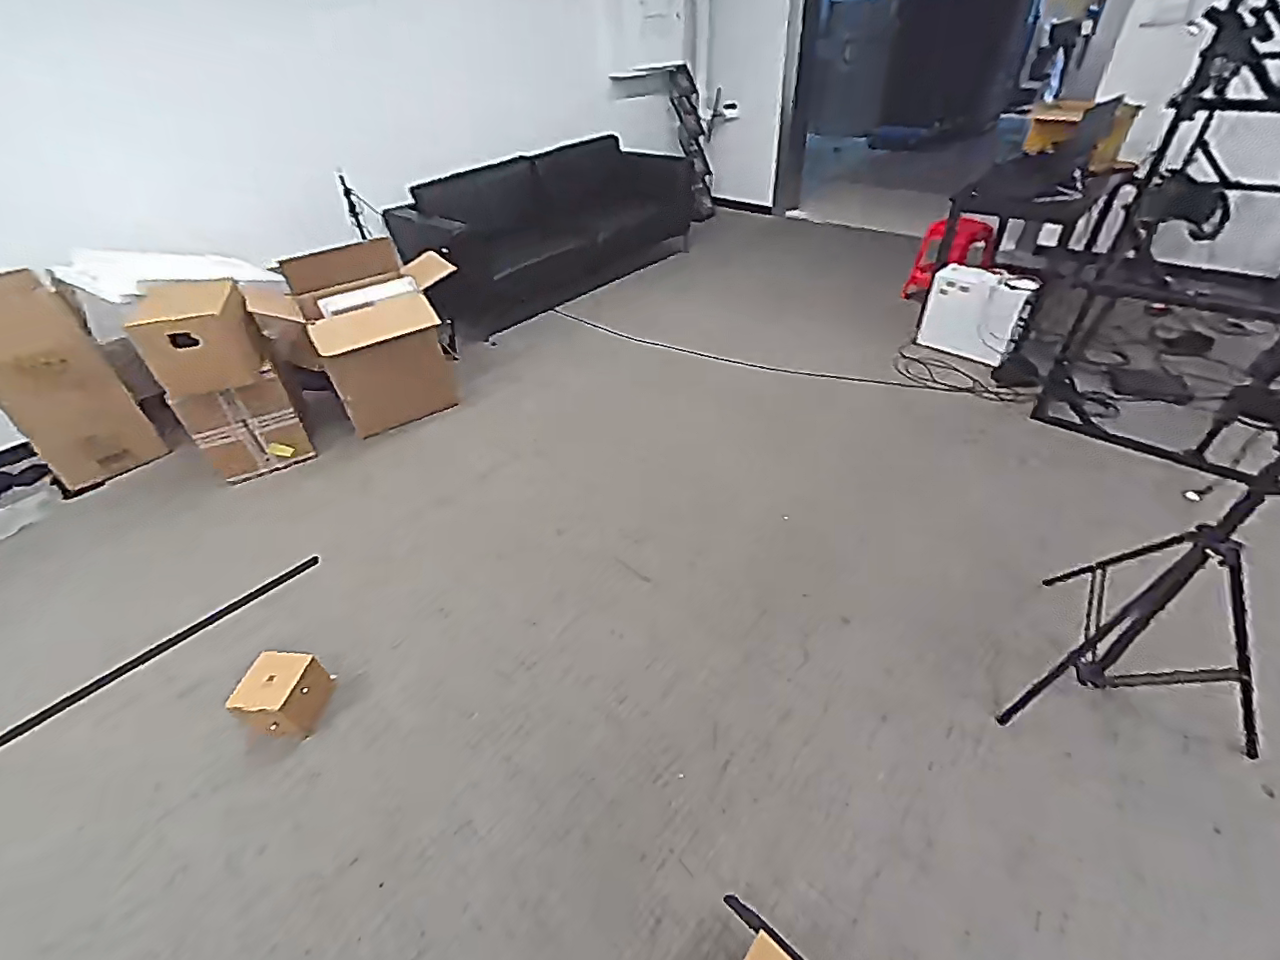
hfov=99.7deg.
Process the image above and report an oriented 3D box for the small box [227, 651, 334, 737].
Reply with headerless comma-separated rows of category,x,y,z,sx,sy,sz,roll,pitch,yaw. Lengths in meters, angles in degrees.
small box,-1.038,0.629,1.584,0.168,0.176,0.179,2,39,6
